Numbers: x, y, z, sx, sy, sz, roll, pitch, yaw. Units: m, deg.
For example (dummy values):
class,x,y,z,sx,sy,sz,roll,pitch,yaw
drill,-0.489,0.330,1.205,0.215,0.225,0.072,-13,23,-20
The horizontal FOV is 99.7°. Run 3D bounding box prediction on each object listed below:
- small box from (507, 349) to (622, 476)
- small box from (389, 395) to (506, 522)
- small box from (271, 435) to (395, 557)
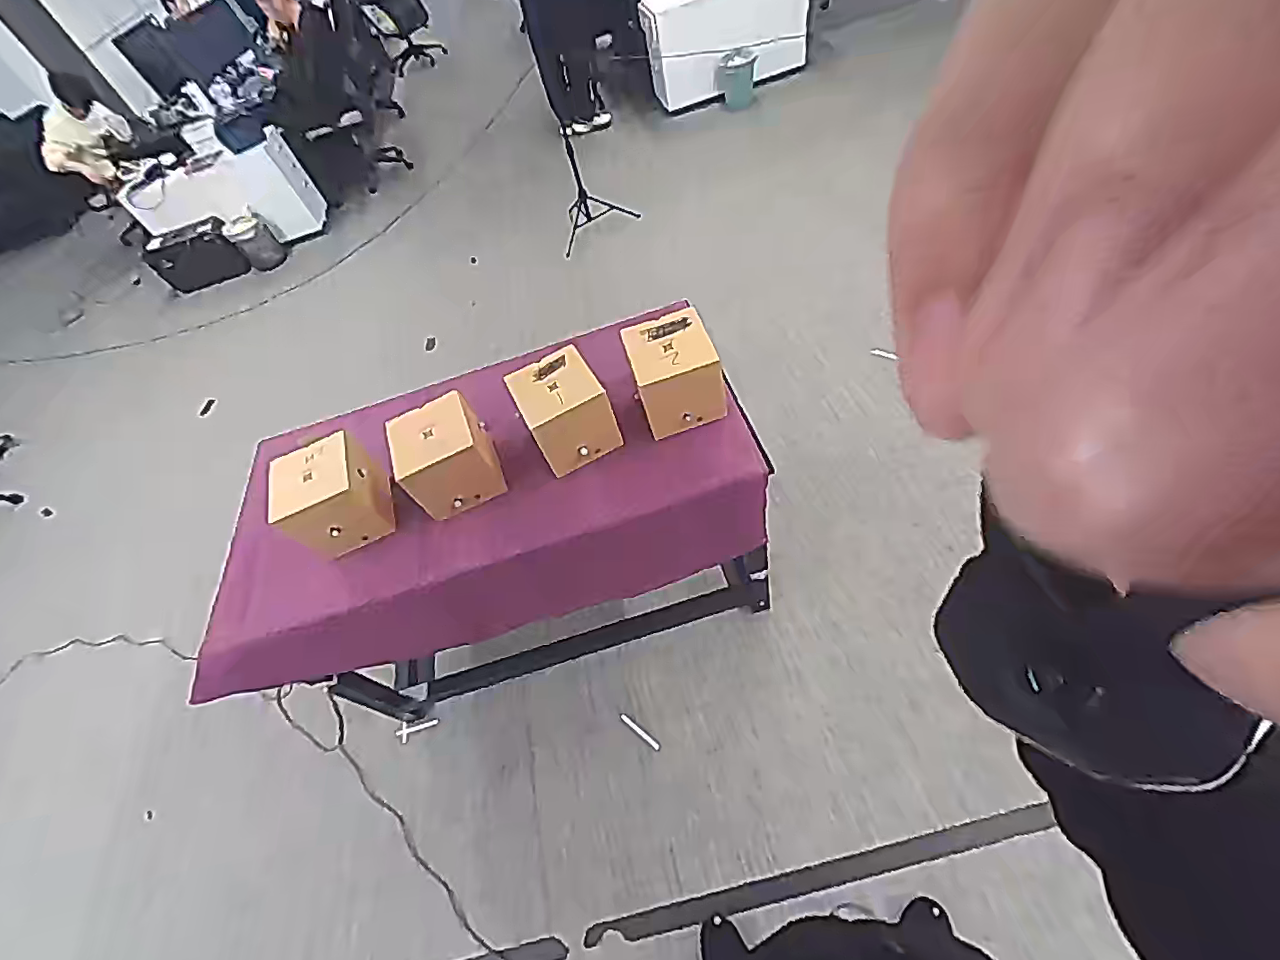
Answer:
class,x,y,z,sx,sy,sz,roll,pitch,yaw
small box,-0.158,-0.141,1.155,0.168,0.176,0.179,-28,53,-6
small box,-0.406,-0.042,1.151,0.168,0.176,0.179,-26,52,-4
small box,-0.645,0.042,1.150,0.168,0.176,0.179,-24,52,-4
